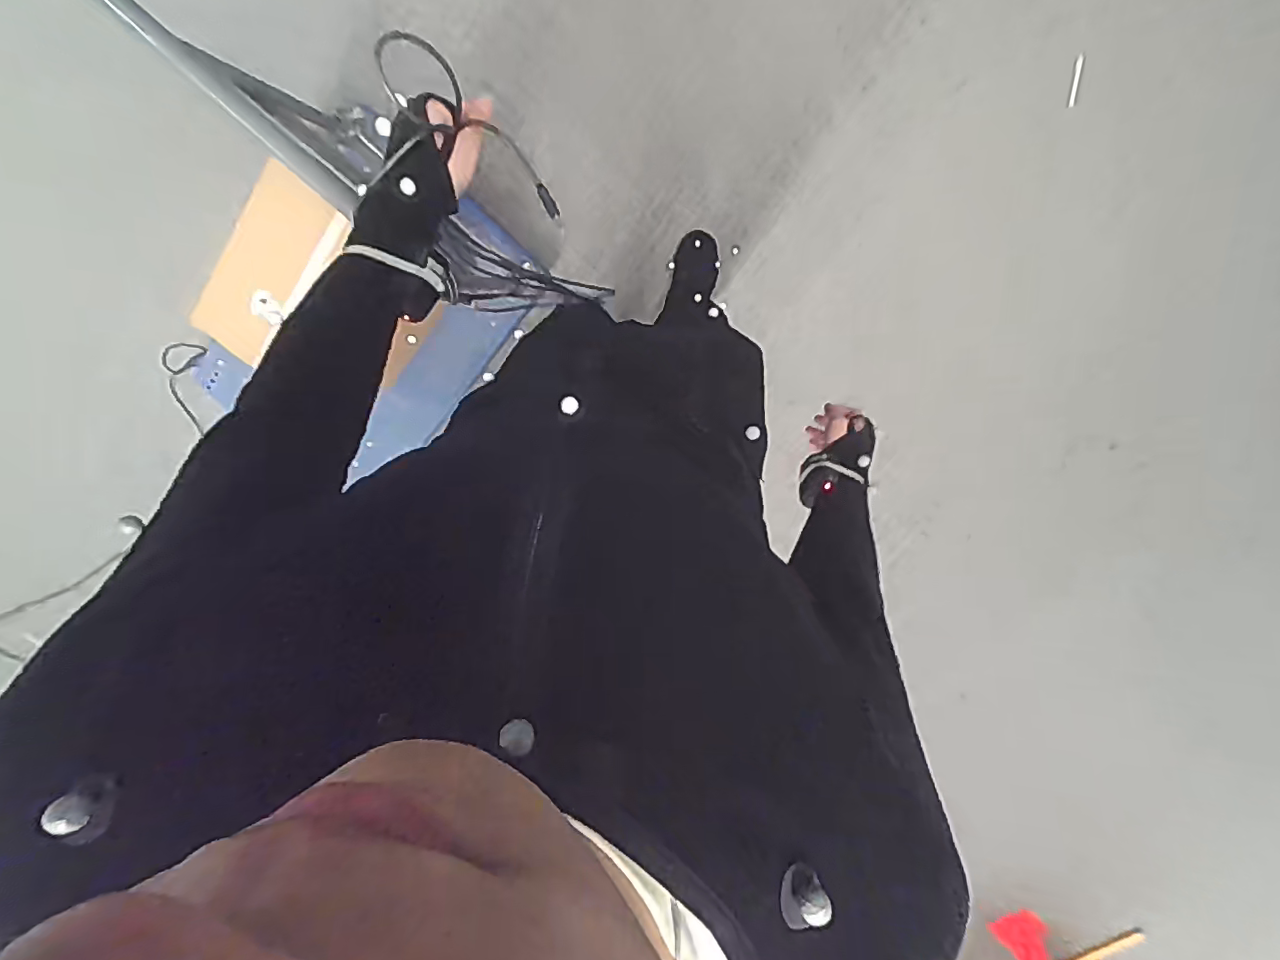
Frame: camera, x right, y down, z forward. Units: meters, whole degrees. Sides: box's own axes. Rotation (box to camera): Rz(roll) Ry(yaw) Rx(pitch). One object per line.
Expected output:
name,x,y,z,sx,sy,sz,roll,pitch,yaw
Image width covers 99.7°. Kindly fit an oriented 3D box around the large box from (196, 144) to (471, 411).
large box,-0.646,-0.432,1.190,0.320,0.320,0.408,40,110,-12
